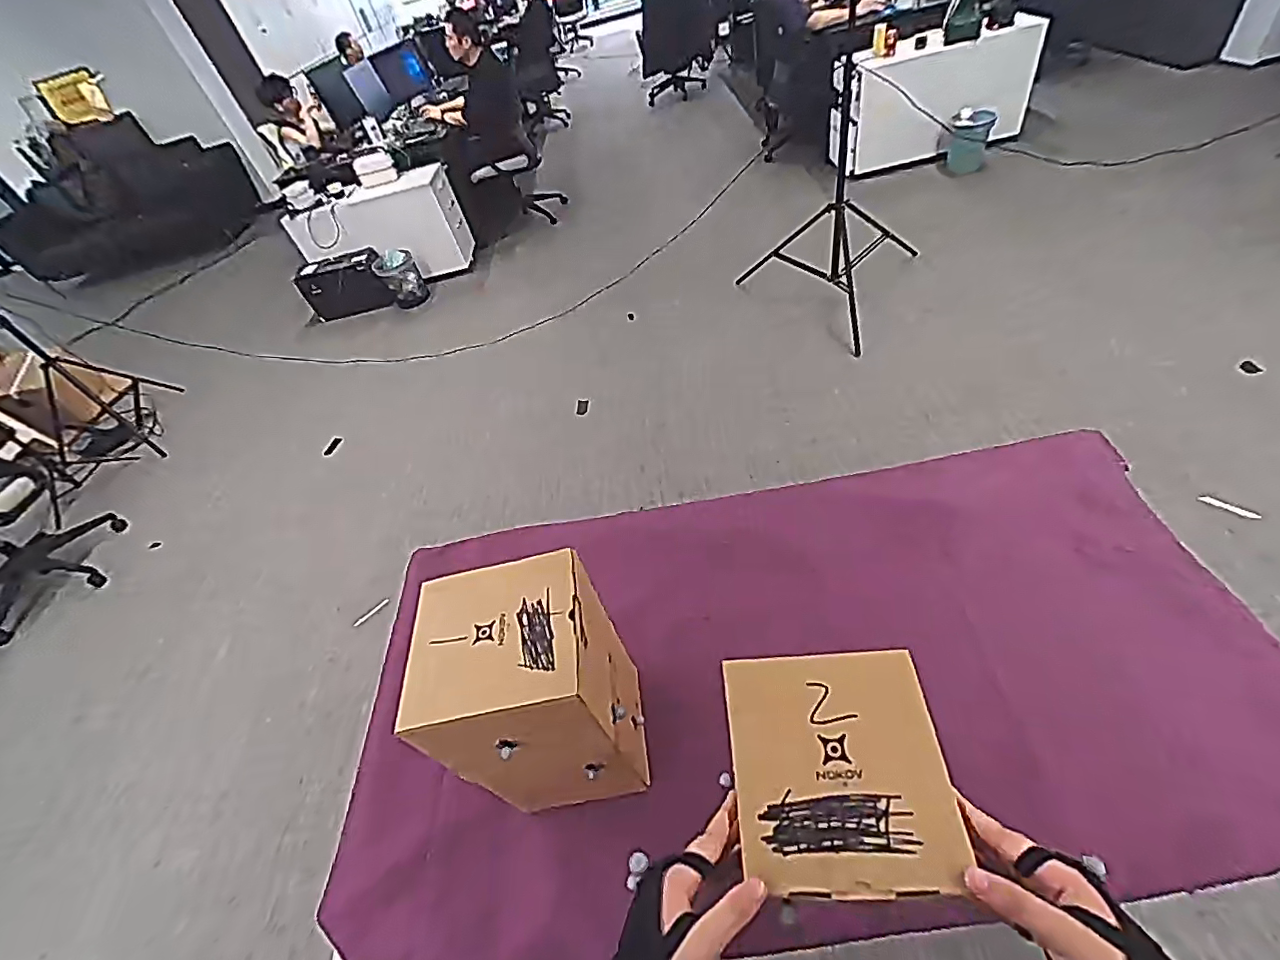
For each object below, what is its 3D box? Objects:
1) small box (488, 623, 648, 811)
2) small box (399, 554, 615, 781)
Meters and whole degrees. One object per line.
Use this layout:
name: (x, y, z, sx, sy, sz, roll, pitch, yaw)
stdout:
small box: (-0.098, 0.318, 0.716, 0.179, 0.176, 0.168, -12, 45, 3)
small box: (-0.128, 0.209, 0.596, 0.179, 0.176, 0.168, -13, 45, 4)
